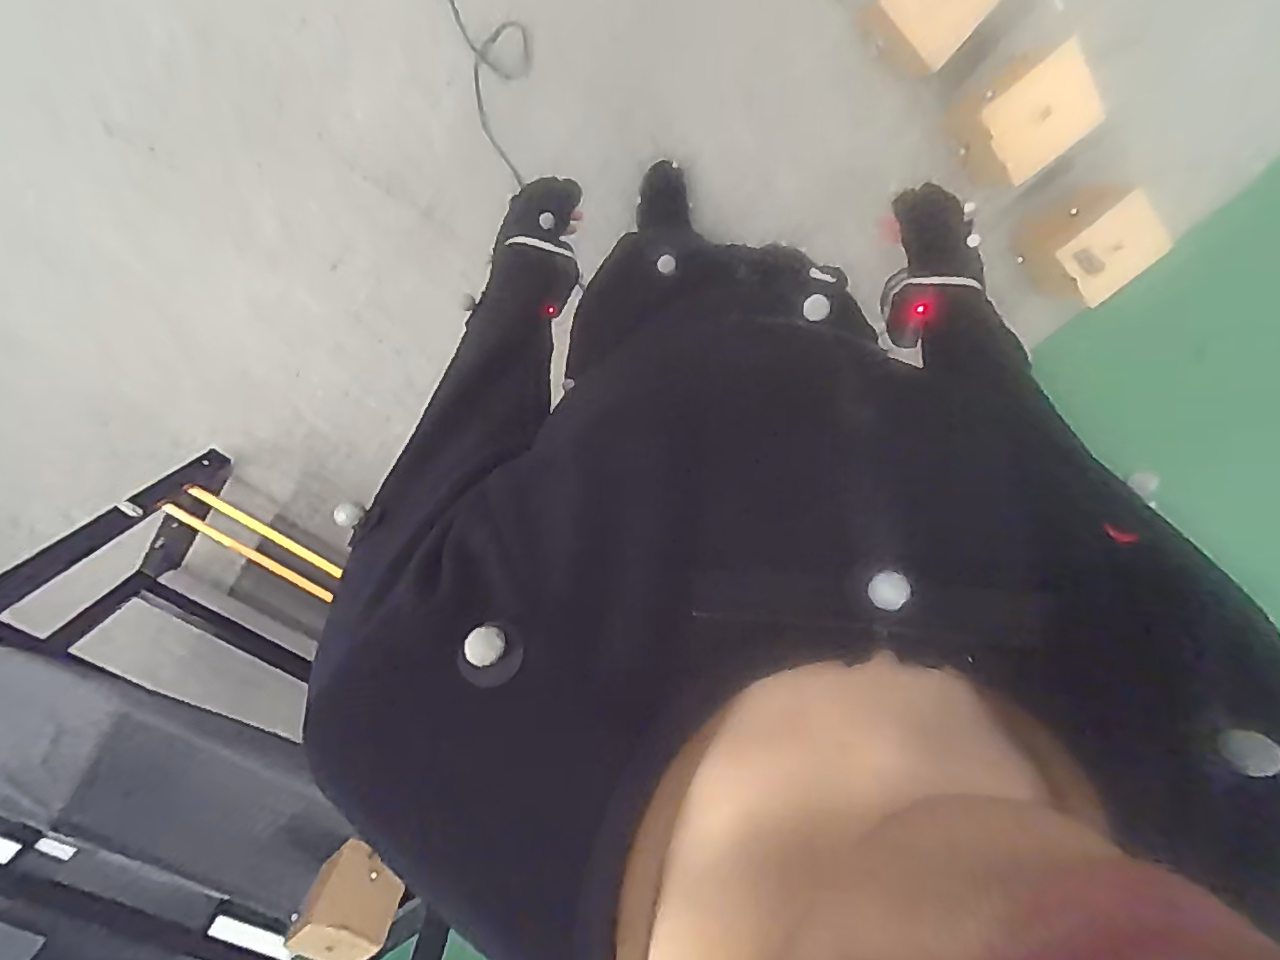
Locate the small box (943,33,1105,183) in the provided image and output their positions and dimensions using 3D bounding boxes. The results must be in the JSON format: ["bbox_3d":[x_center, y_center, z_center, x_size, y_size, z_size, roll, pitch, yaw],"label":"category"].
[{"bbox_3d":[0.750,-0.724,1.073,0.179,0.176,0.168,-37,112,21],"label":"small box"}]

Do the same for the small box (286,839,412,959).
[{"bbox_3d":[-0.656,0.967,1.238,0.168,0.176,0.179,36,115,-17],"label":"small box"}]

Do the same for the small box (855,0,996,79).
[{"bbox_3d":[0.529,-0.885,0.990,0.168,0.176,0.179,36,116,-15],"label":"small box"}]

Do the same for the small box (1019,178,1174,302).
[{"bbox_3d":[0.975,-0.523,1.178,0.168,0.176,0.179,40,113,-19],"label":"small box"}]
